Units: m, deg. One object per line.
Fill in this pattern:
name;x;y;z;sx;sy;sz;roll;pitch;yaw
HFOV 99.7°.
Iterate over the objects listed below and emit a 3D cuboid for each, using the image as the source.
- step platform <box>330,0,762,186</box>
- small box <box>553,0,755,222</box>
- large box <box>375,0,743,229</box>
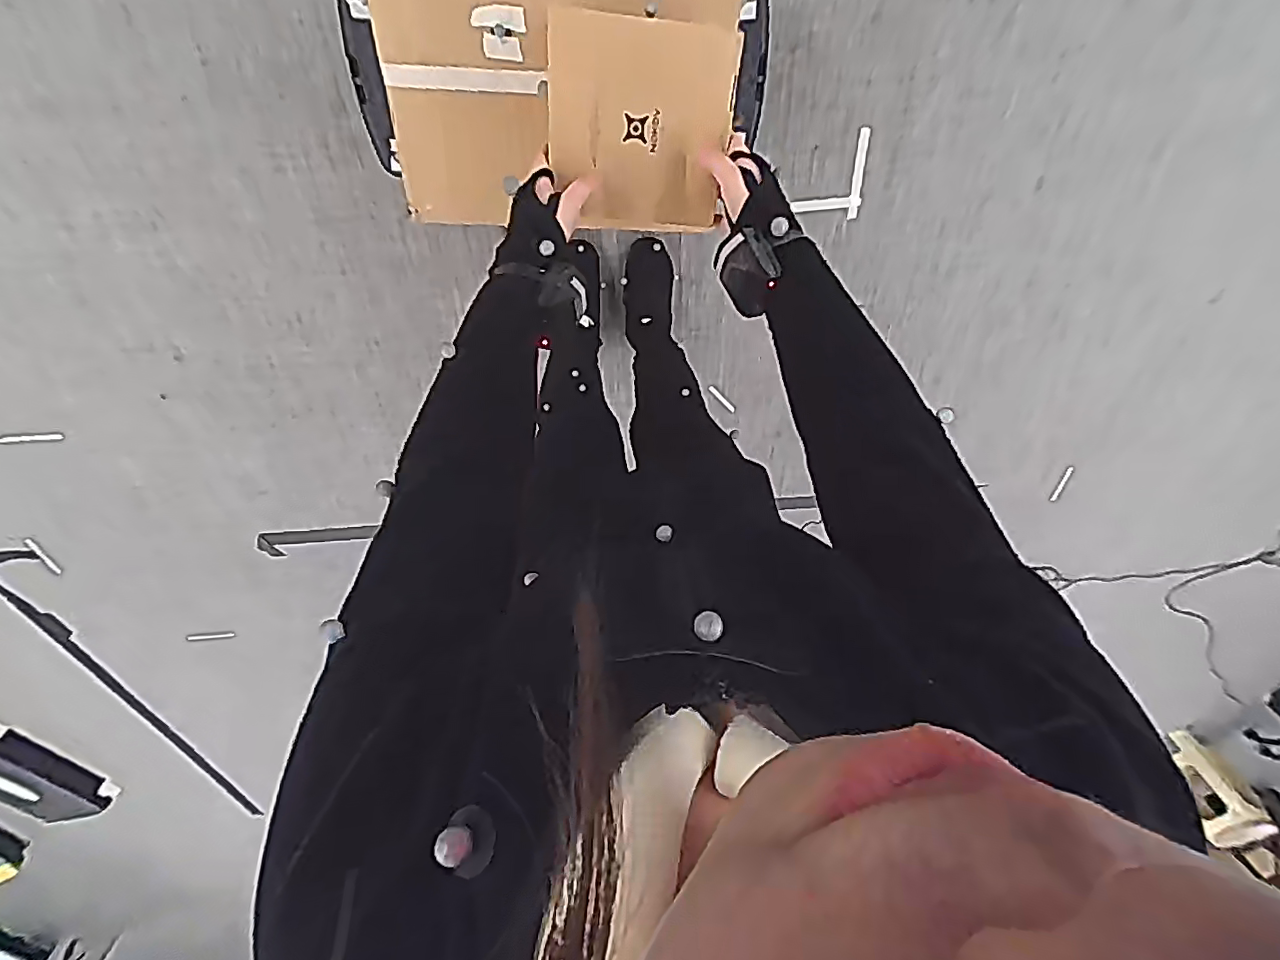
step platform;-0.142;-0.689;0.932;0.684;0.204;0.286;1;127;-6
small box;0.000;-0.385;0.568;0.179;0.176;0.168;2;126;-7
large box;-0.095;-0.550;0.743;0.408;0.320;0.320;0;126;-5
